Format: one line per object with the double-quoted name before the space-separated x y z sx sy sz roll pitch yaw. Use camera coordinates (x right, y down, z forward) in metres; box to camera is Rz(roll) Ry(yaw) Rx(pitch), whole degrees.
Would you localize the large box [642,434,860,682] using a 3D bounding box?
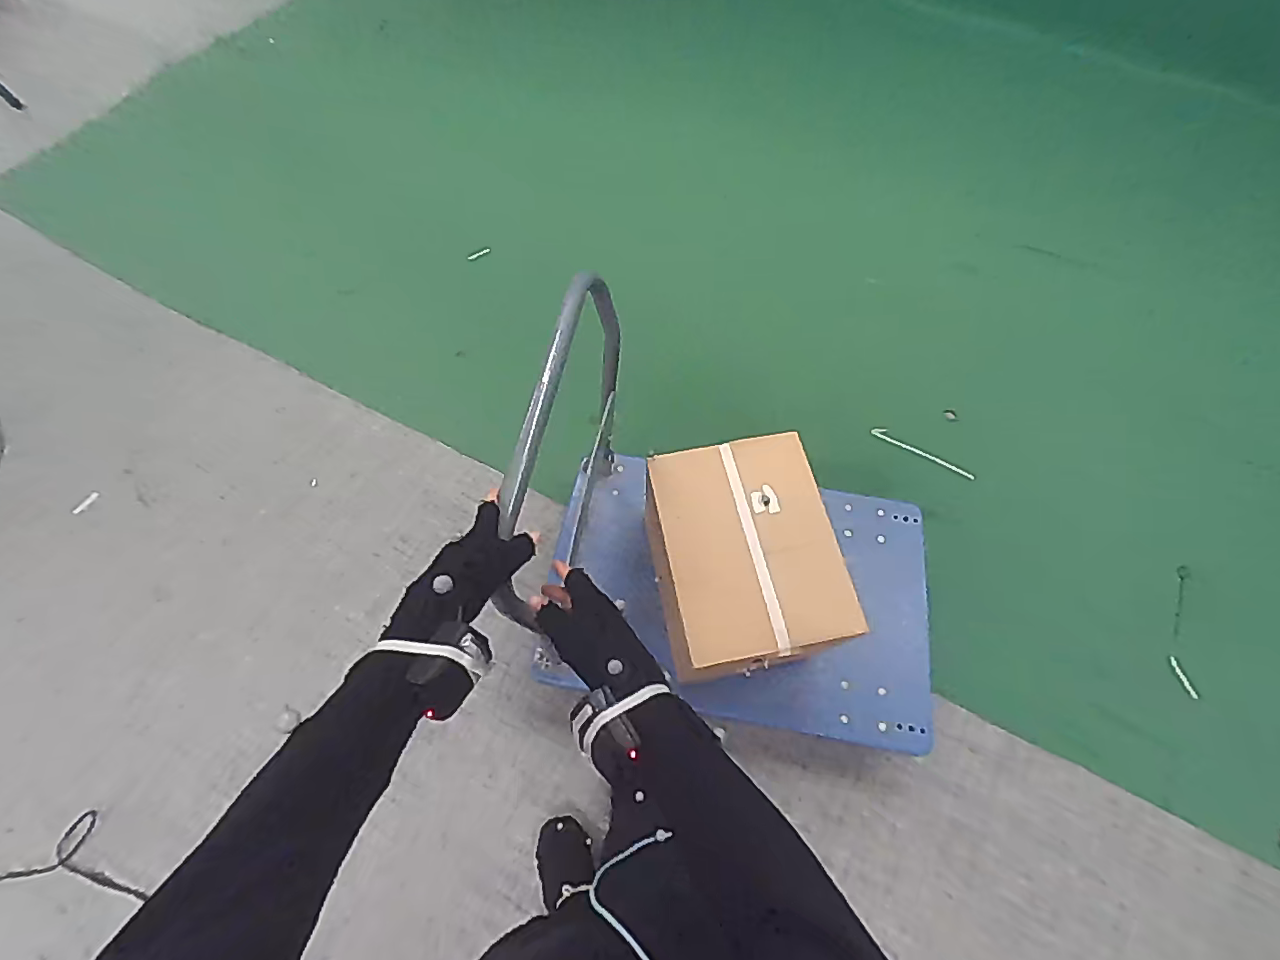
"large box" 0.195 0.173 1.136 0.320 0.320 0.408 -10 64 -5
